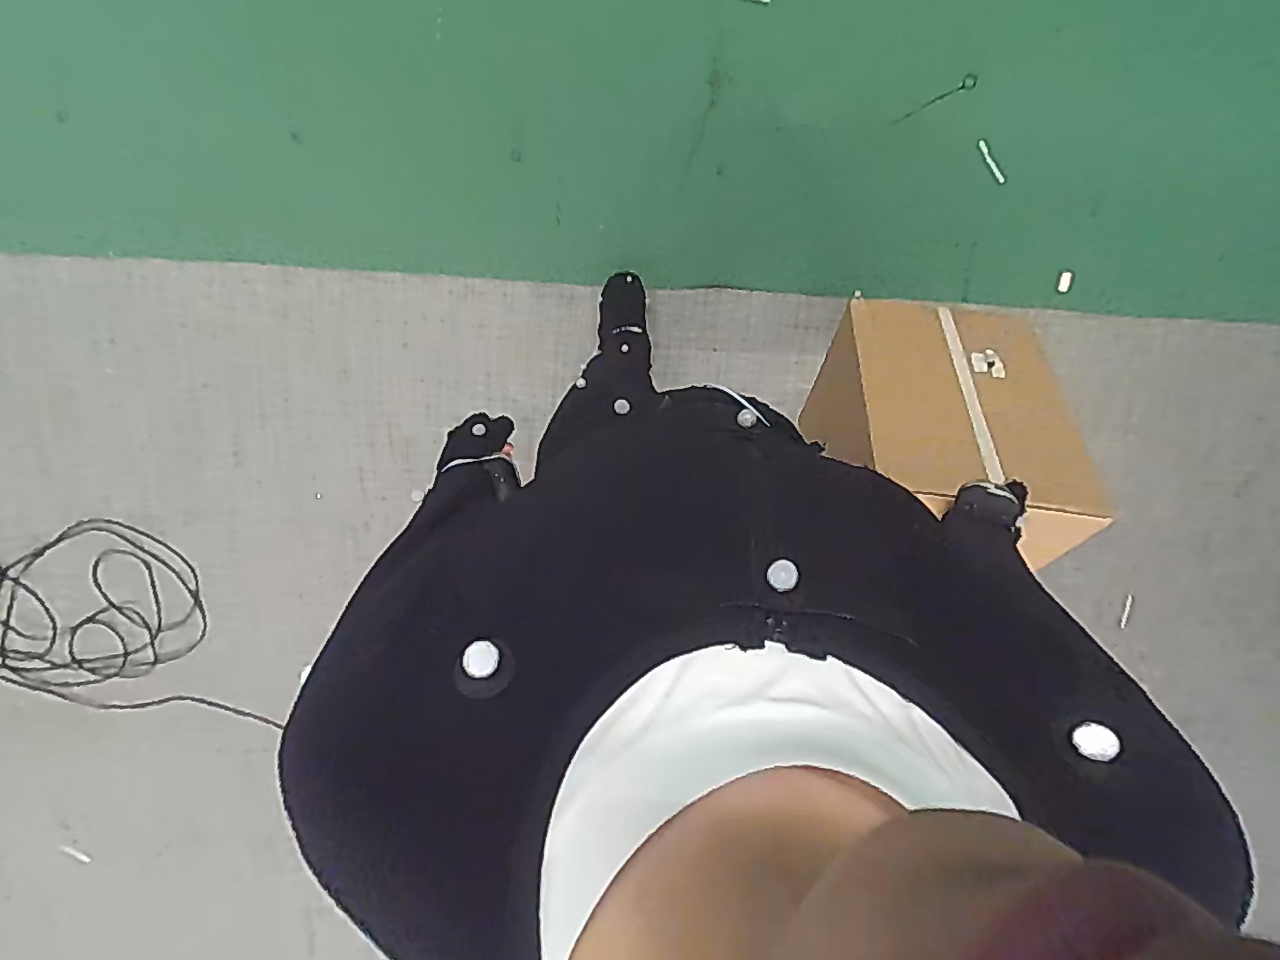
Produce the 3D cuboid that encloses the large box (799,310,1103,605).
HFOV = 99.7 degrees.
[{"bbox_3d":[0.482,-0.036,0.956,0.320,0.408,0.320,9,144,1],"label":"large box"}]
